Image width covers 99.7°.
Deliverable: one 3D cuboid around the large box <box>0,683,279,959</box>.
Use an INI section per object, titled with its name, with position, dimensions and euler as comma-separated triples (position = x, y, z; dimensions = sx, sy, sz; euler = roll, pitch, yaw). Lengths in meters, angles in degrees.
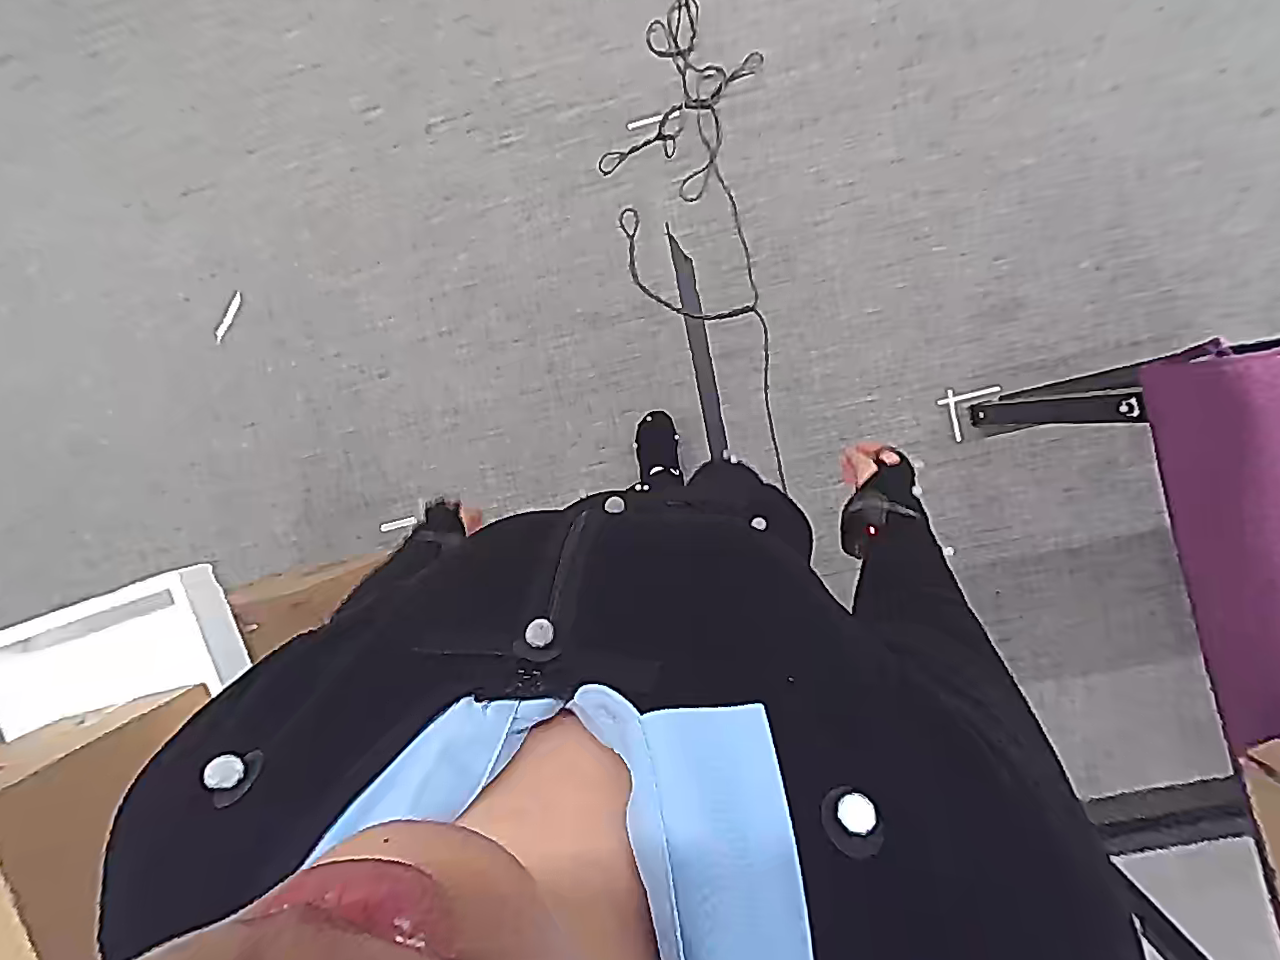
[large box]
position = -0.846, 0.588, 0.810
dimensions = 0.320, 0.320, 0.408
euler = -16, 95, 8
